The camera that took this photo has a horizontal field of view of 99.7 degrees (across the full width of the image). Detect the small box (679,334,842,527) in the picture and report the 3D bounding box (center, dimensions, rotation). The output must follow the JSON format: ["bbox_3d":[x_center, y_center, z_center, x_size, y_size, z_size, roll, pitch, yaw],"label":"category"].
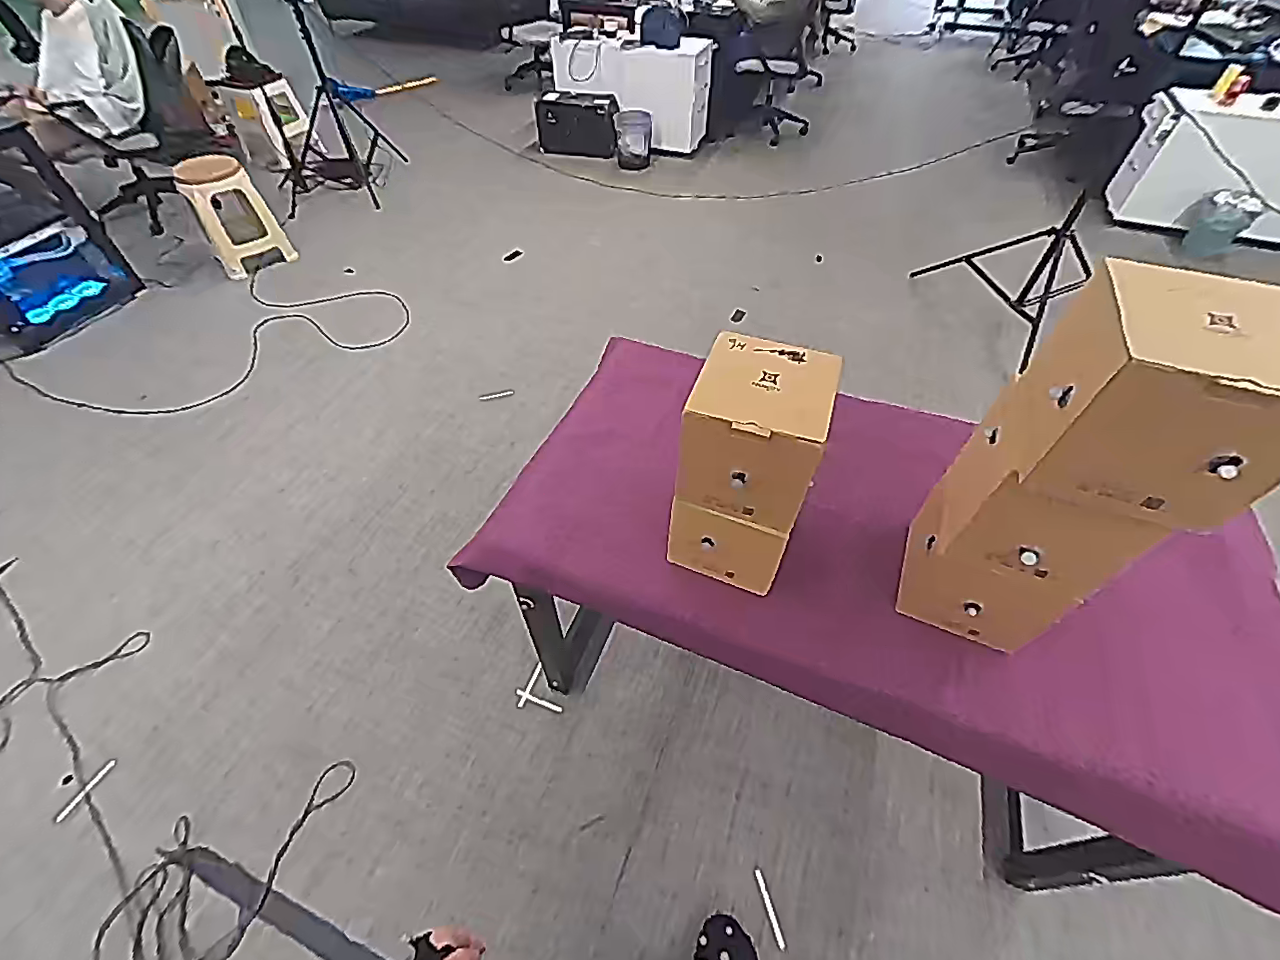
[{"bbox_3d":[0.154,-0.063,0.725,0.168,0.176,0.179,16,51,13],"label":"small box"}]

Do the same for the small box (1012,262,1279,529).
[{"bbox_3d":[0.496,-0.080,0.527,0.168,0.176,0.179,17,51,13],"label":"small box"}]

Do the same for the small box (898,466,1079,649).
[{"bbox_3d":[0.496,0.116,0.789,0.168,0.176,0.179,20,52,15],"label":"small box"}]

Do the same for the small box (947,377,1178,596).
[{"bbox_3d":[0.501,0.009,0.665,0.168,0.176,0.179,19,53,16],"label":"small box"}]

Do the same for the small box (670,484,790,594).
[{"bbox_3d":[0.152,0.049,0.845,0.168,0.176,0.179,18,51,14],"label":"small box"}]
